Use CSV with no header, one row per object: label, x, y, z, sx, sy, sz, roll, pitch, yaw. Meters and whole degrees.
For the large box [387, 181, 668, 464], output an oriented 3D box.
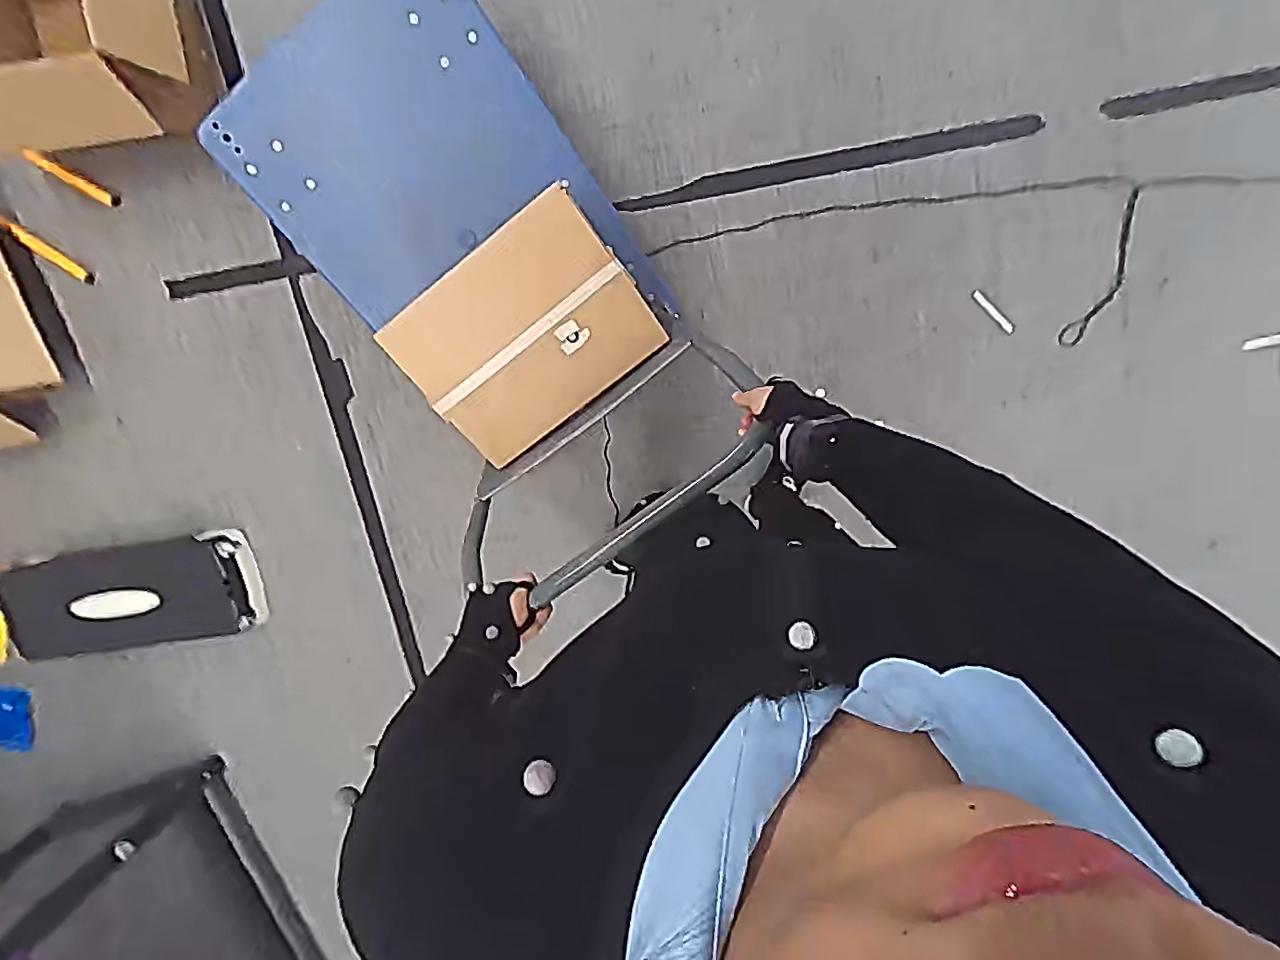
large box,-0.210,-0.307,1.085,0.408,0.320,0.320,-37,112,7
